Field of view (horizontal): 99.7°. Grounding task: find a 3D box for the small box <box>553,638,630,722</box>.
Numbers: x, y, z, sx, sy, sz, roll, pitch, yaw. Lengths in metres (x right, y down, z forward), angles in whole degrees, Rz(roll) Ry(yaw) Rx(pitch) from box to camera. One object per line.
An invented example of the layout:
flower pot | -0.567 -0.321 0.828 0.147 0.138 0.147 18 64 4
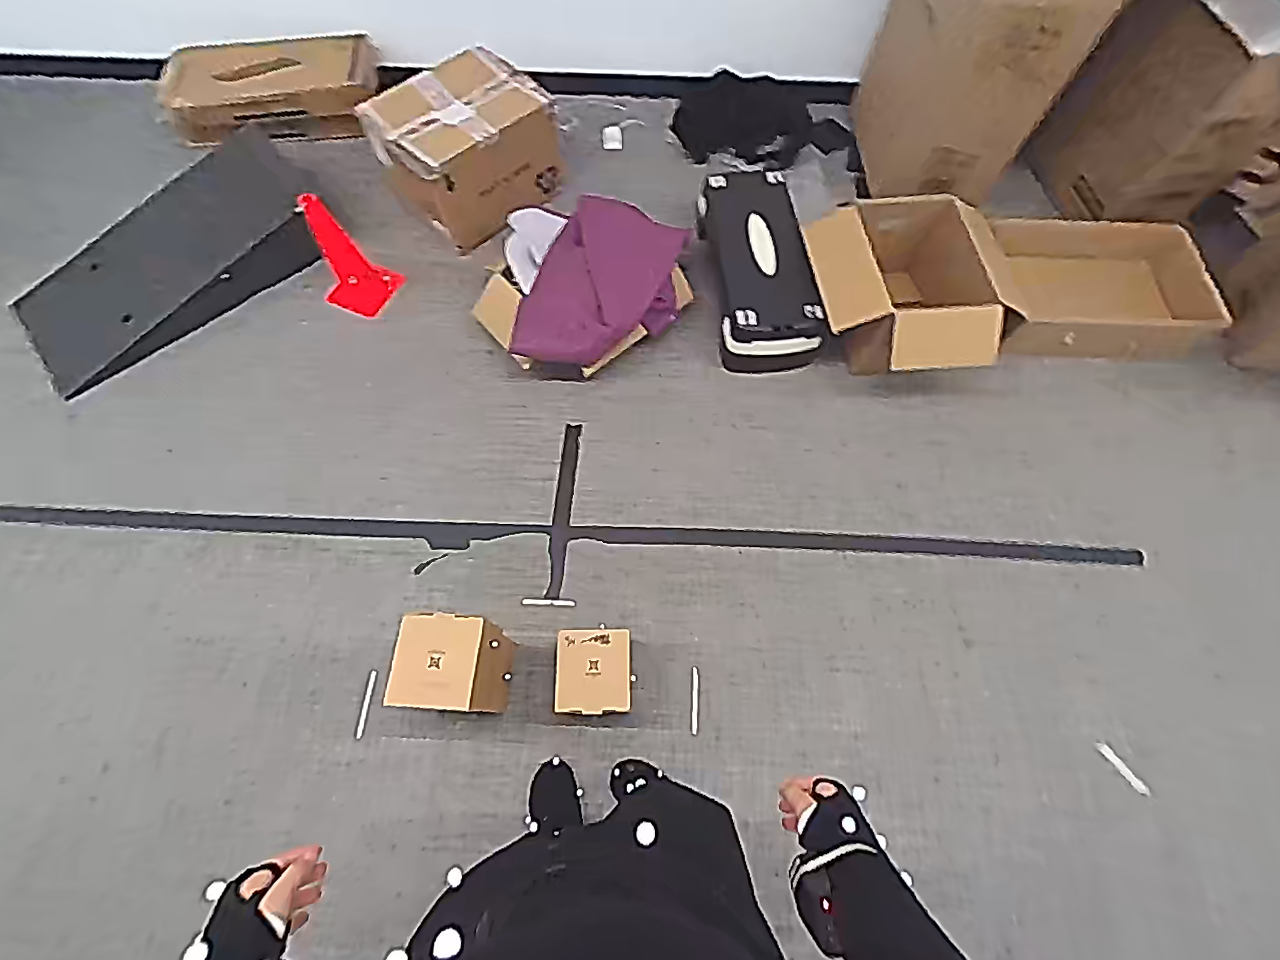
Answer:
small box | -0.108 0.473 1.277 0.168 0.176 0.179 0 67 -1

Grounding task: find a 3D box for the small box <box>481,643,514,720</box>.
small box | -0.405 0.468 1.273 0.179 0.176 0.168 4 66 2

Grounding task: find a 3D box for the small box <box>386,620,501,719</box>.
small box | -0.396 0.398 1.127 0.168 0.176 0.179 3 67 2
